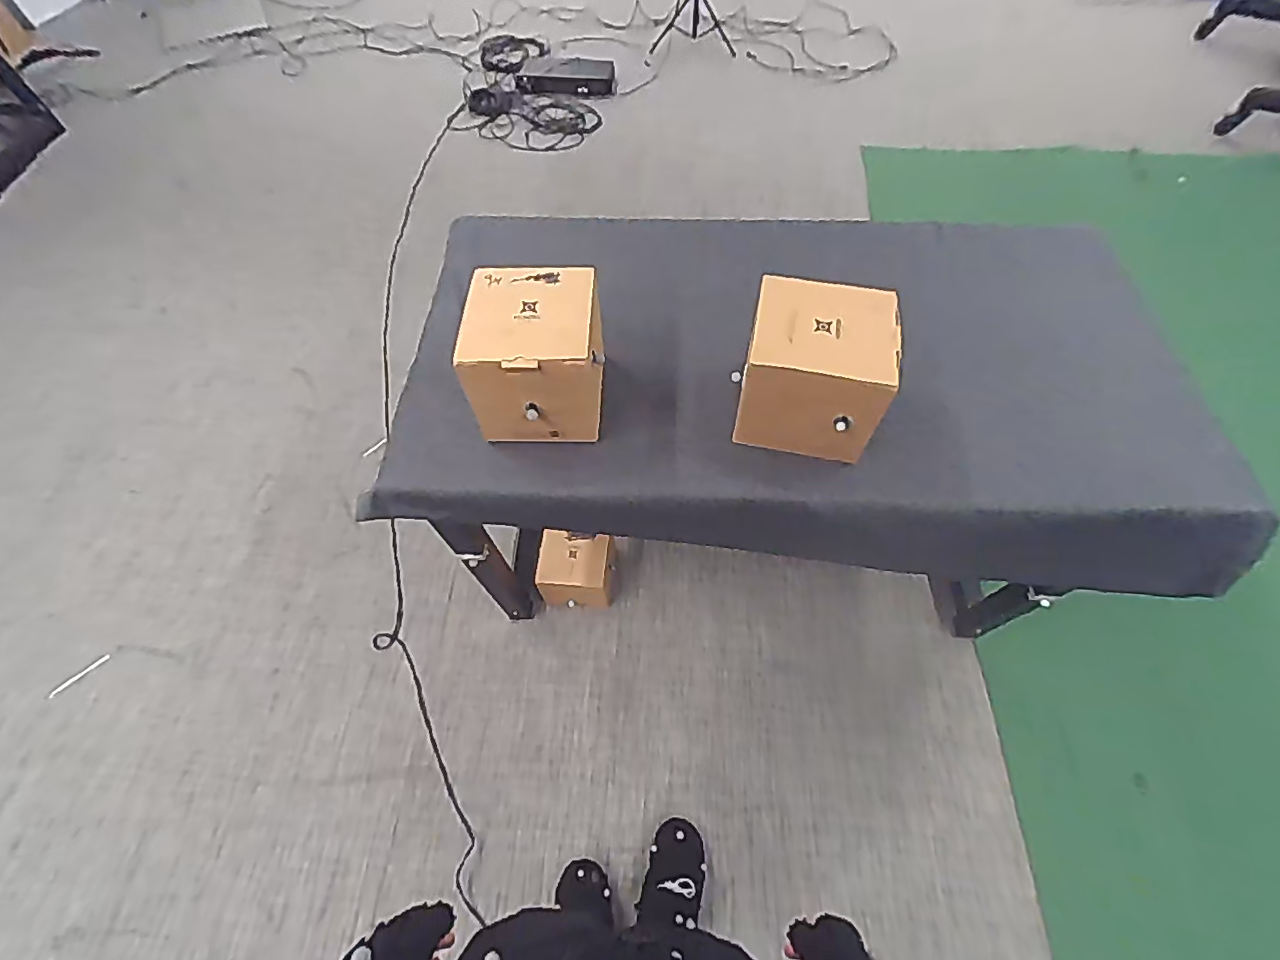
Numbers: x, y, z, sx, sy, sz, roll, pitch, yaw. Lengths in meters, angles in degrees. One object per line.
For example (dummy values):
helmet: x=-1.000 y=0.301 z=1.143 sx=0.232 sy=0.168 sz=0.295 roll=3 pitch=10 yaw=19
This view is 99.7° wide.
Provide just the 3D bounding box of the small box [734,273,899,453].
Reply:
small box: x=0.235 y=-0.155 z=0.746 sx=0.179 sy=0.176 sz=0.168 roll=9 pitch=59 yaw=8

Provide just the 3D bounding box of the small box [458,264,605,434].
small box: x=-0.138 y=-0.178 z=0.763 sx=0.168 sy=0.176 sz=0.179 roll=0 pitch=60 yaw=0
